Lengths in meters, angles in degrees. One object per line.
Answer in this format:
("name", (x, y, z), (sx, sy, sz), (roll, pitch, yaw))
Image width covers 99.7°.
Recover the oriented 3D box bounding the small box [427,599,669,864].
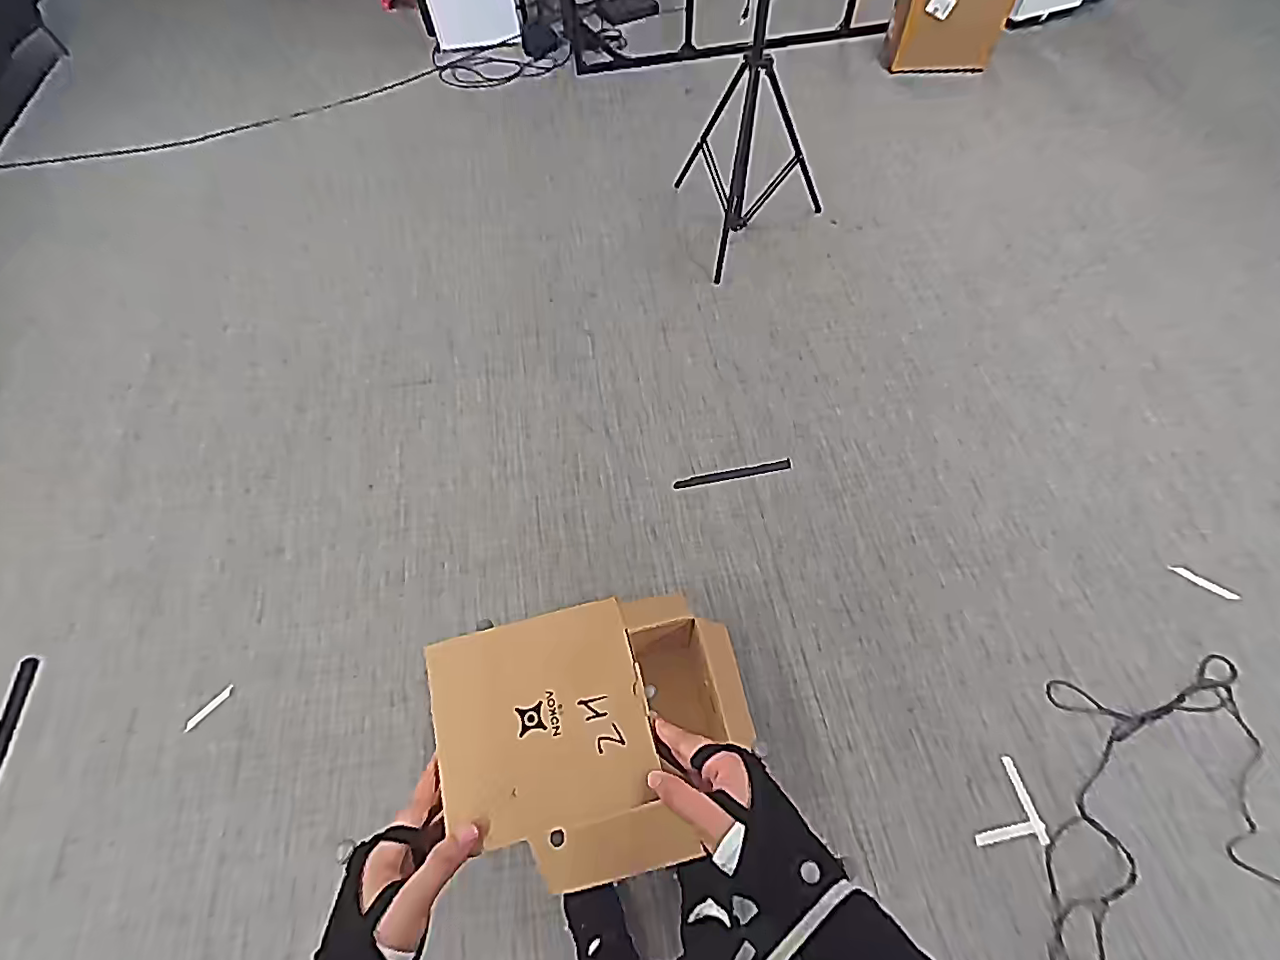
("small box", (-0.080, 0.228, 0.513), (0.179, 0.176, 0.168), (-13, 68, -7))
